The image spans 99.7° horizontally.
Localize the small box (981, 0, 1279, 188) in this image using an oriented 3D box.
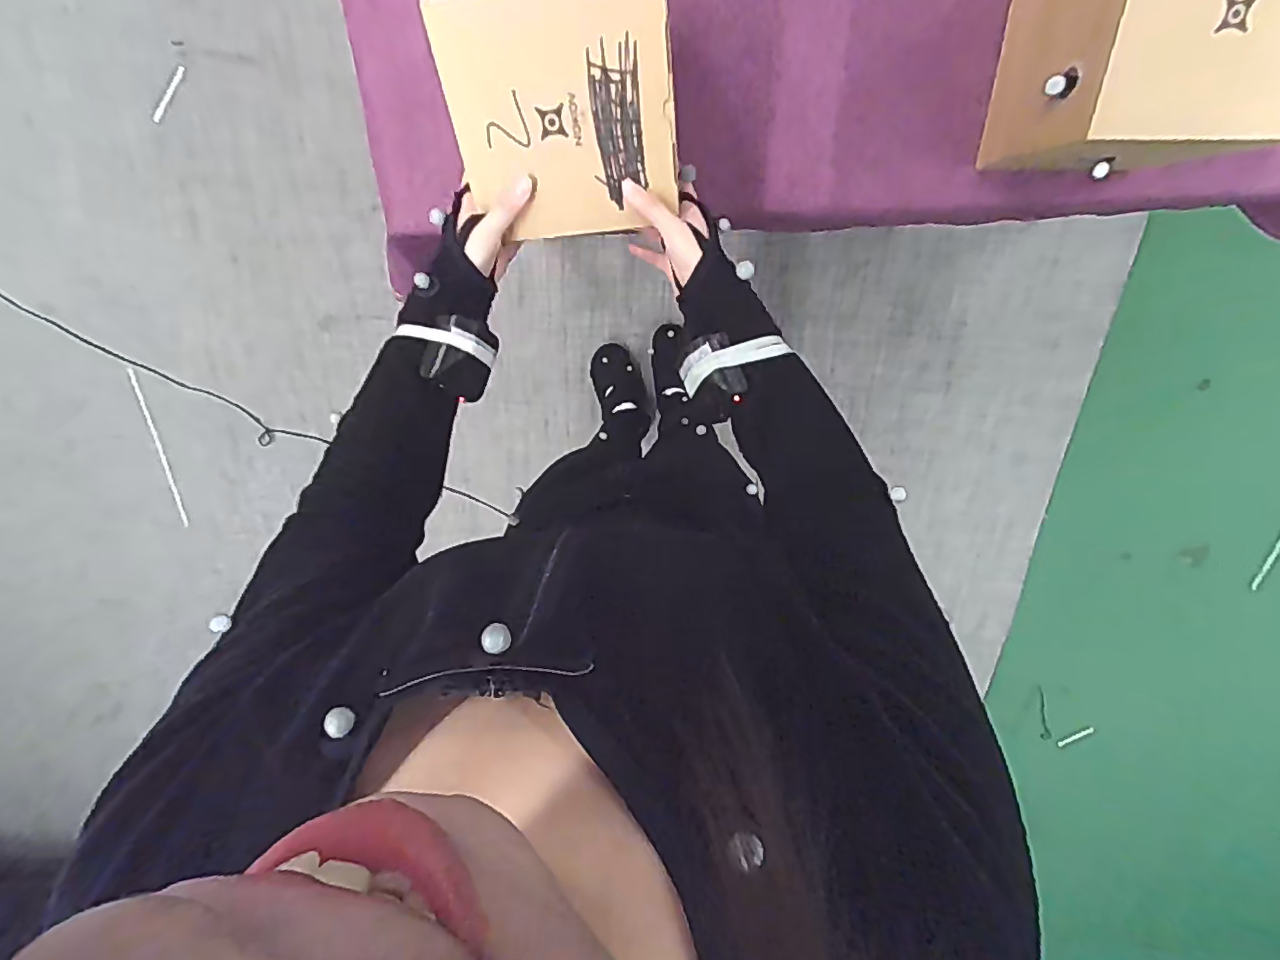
[{"bbox_3d":[0.439,-0.364,0.476,0.168,0.176,0.179,2,112,1],"label":"small box"}]
